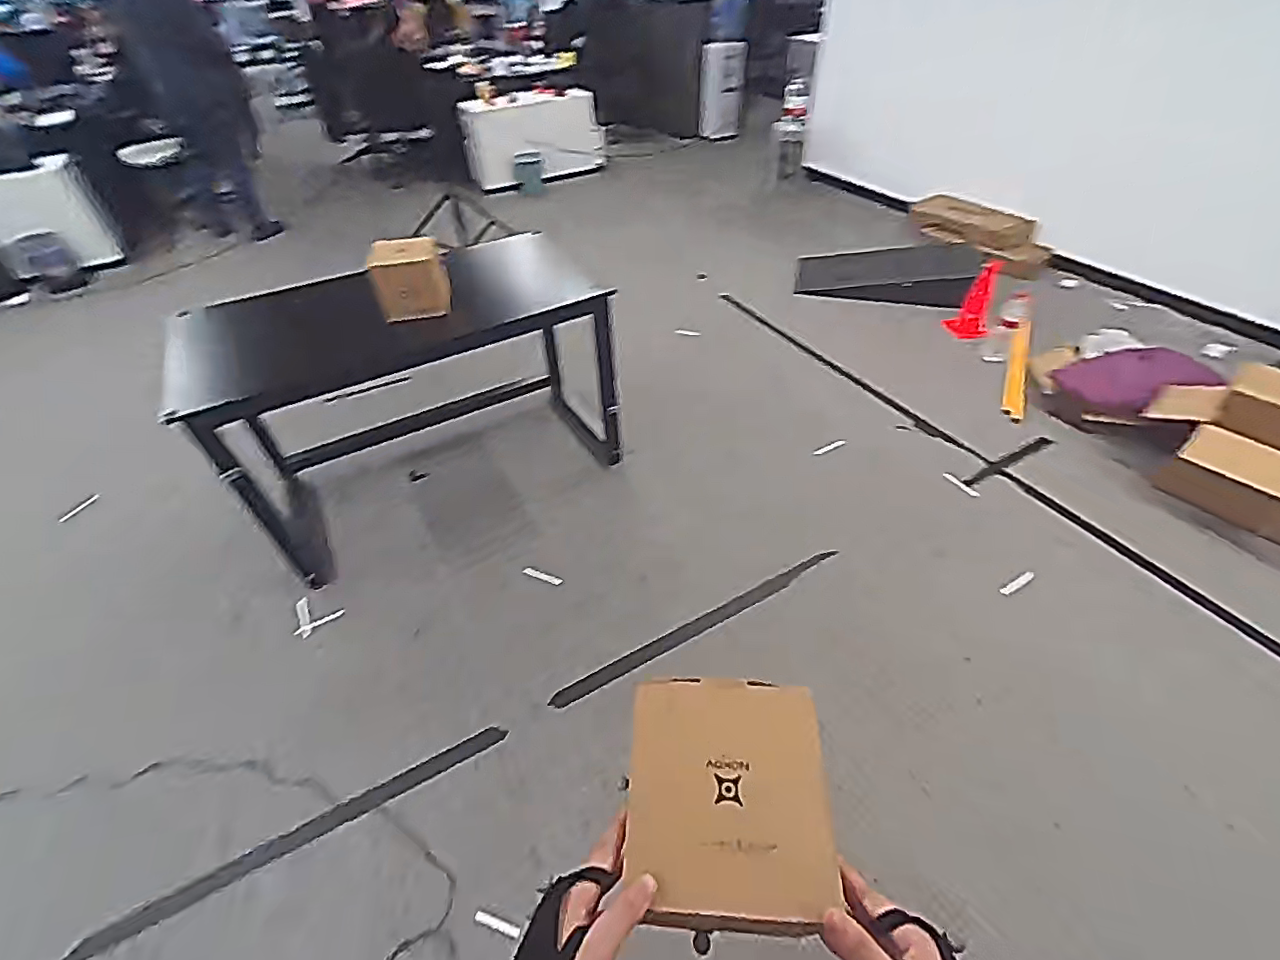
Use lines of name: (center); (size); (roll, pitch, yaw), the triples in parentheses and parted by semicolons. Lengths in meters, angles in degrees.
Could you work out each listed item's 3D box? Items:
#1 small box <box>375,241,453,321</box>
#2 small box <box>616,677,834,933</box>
small box: (-0.658, -0.583, 1.598); (0.168, 0.176, 0.179); (-9, 44, -8)
small box: (0.067, 0.309, 0.515); (0.168, 0.176, 0.179); (2, 48, 2)
